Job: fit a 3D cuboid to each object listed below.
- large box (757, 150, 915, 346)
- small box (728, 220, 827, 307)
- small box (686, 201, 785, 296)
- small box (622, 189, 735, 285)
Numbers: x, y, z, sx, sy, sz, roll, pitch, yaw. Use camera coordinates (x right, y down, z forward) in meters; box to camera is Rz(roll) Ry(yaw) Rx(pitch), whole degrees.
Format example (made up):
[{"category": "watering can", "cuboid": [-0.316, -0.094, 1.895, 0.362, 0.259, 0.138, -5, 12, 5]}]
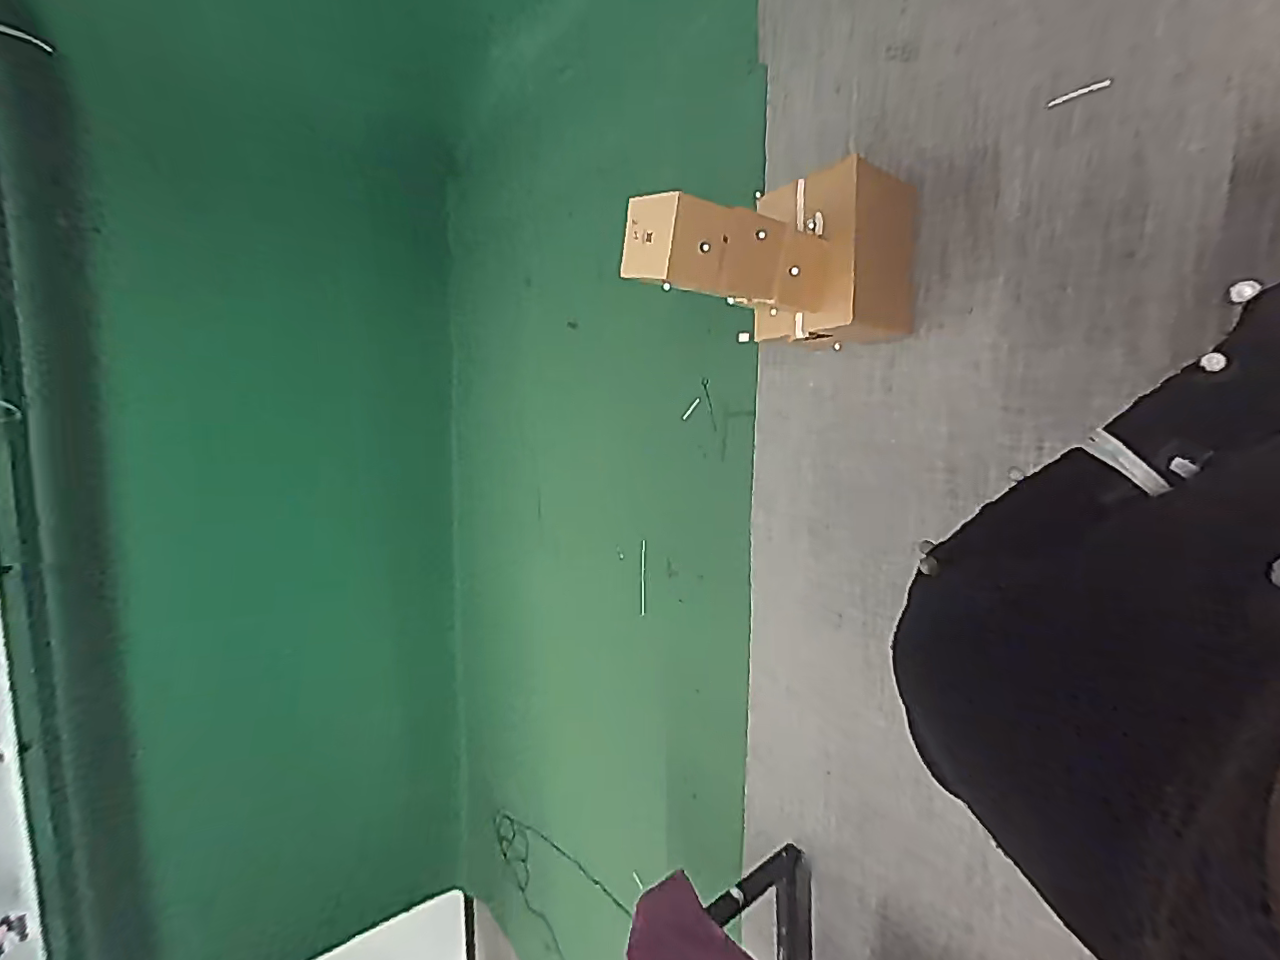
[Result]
[{"category": "large box", "cuboid": [0.547, -0.613, 1.519, 0.320, 0.320, 0.408, 6, 98, 52]}, {"category": "small box", "cuboid": [0.352, -0.546, 1.381, 0.168, 0.176, 0.179, 23, 112, 49]}, {"category": "small box", "cuboid": [0.220, -0.544, 1.285, 0.168, 0.176, 0.179, 28, 117, 49]}, {"category": "small box", "cuboid": [0.084, -0.530, 1.194, 0.179, 0.176, 0.168, 29, 116, 48]}]
